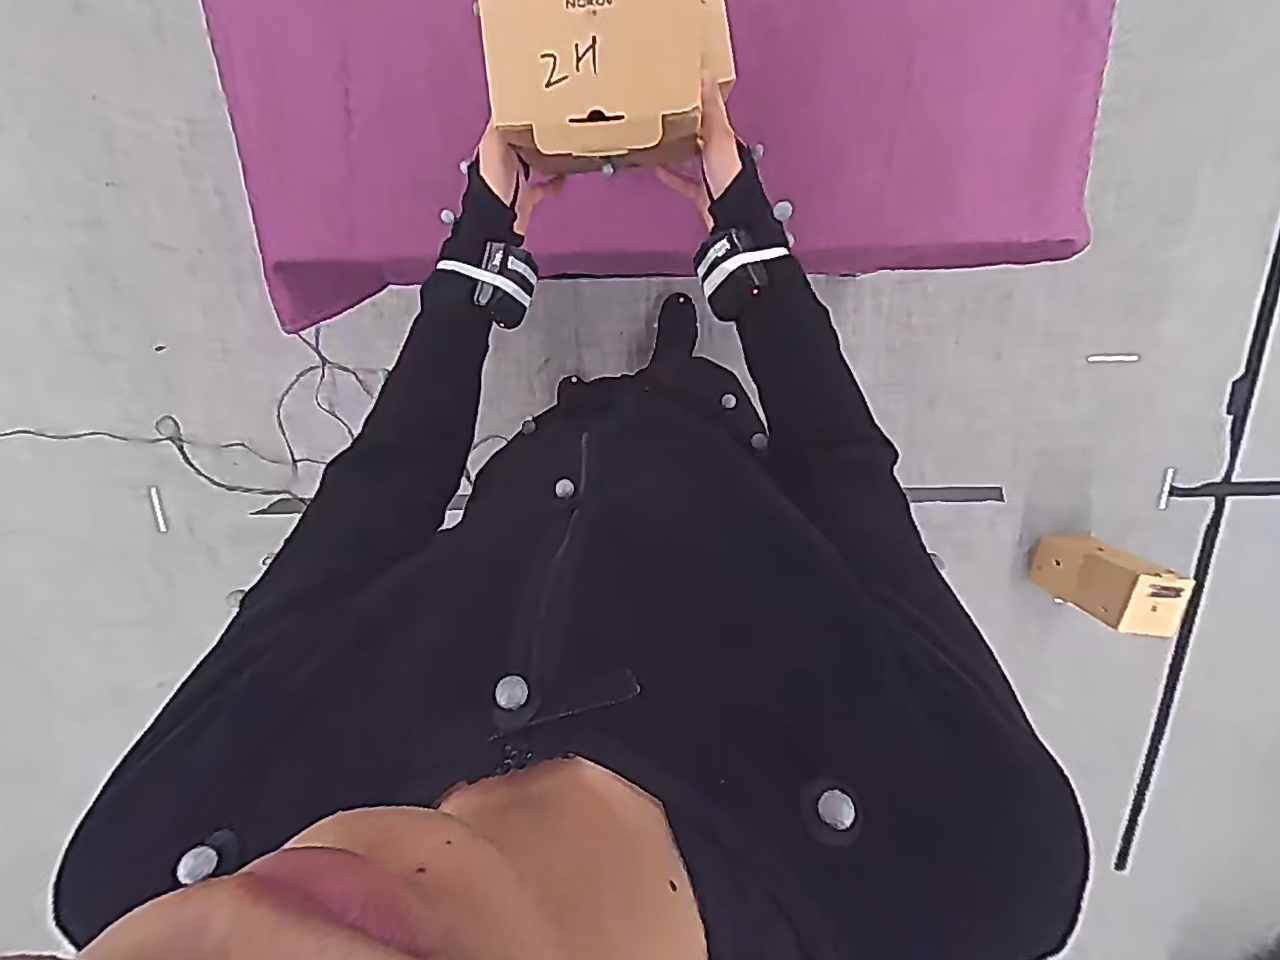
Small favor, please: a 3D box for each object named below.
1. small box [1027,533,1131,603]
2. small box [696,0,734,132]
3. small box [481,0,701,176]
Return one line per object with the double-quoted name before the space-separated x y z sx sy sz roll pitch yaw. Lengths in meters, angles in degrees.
"small box" 1.376 0.273 1.709 0.179 0.176 0.168 2 106 -4
"small box" 0.002 -0.529 0.662 0.179 0.176 0.168 -12 106 0
"small box" -0.035 -0.387 0.474 0.168 0.176 0.179 -2 108 3
